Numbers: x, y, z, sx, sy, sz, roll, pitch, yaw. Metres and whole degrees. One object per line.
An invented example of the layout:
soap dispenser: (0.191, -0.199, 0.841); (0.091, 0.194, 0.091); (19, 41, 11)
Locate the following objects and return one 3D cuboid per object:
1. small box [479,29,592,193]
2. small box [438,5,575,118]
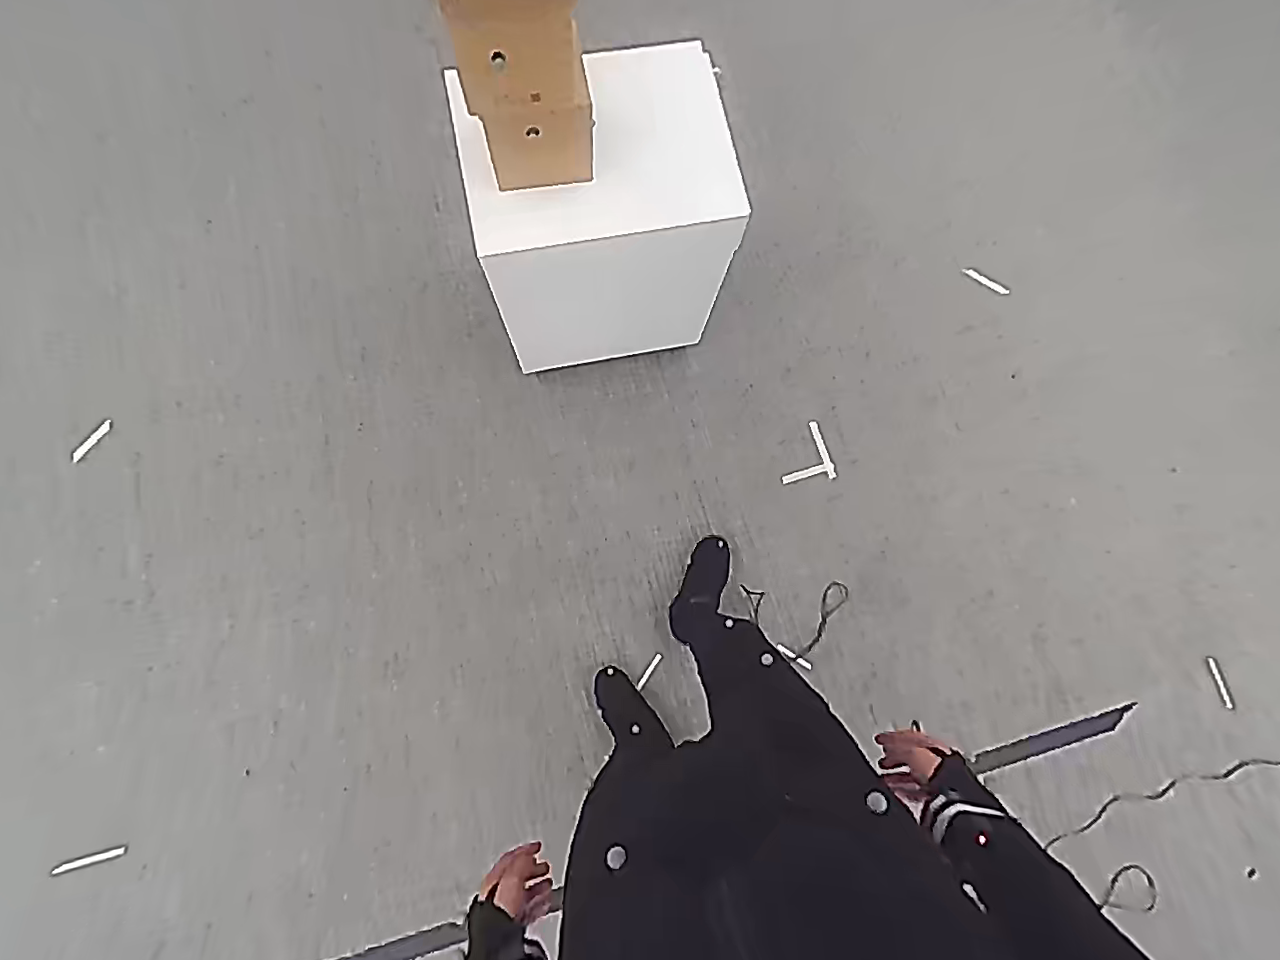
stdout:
small box: (-0.181, -0.625, 0.934); (0.179, 0.176, 0.168); (-10, 80, -7)
small box: (-0.187, -0.652, 0.773); (0.168, 0.176, 0.179); (-9, 79, -5)
